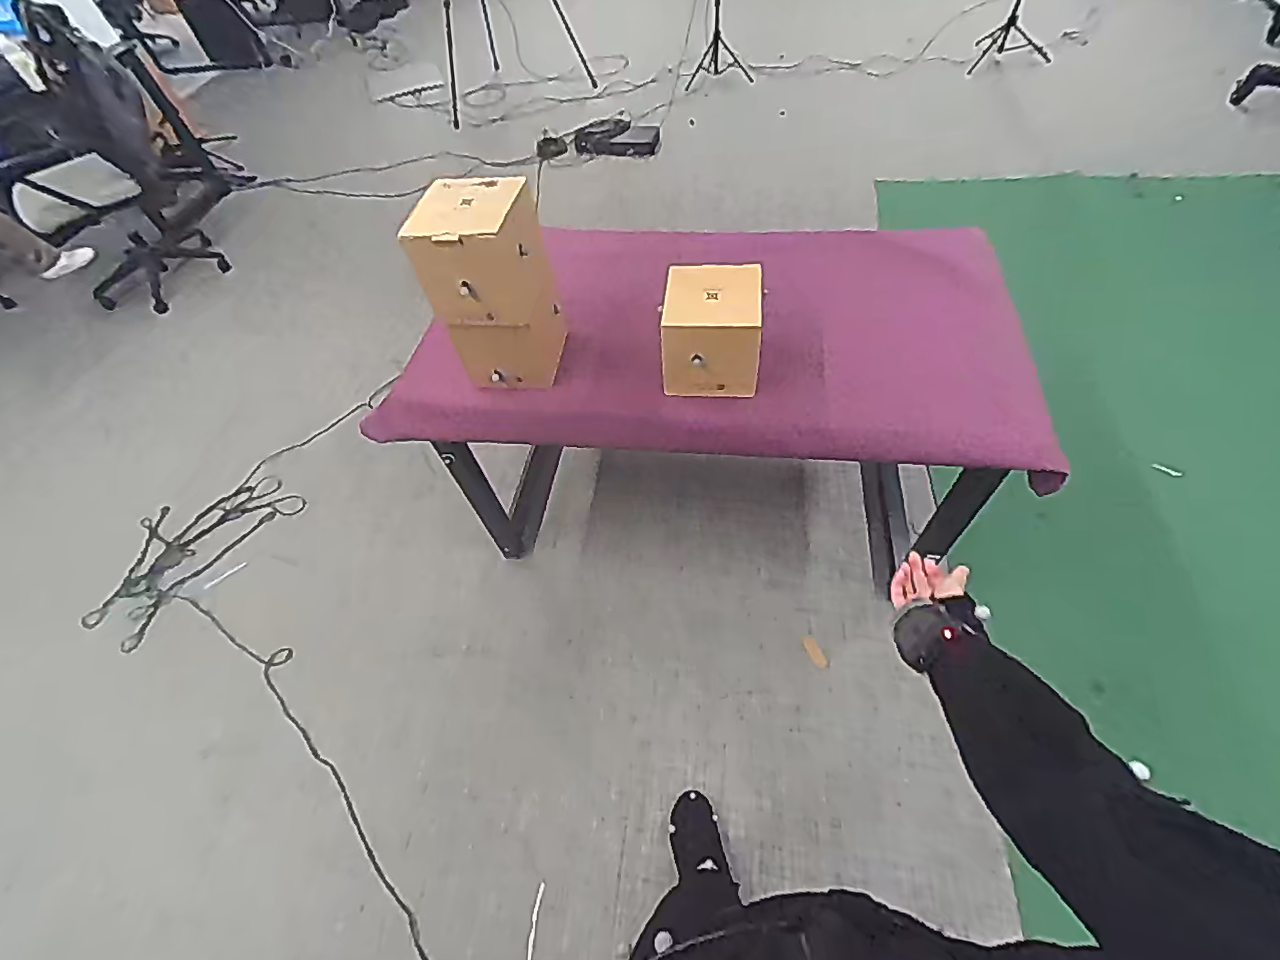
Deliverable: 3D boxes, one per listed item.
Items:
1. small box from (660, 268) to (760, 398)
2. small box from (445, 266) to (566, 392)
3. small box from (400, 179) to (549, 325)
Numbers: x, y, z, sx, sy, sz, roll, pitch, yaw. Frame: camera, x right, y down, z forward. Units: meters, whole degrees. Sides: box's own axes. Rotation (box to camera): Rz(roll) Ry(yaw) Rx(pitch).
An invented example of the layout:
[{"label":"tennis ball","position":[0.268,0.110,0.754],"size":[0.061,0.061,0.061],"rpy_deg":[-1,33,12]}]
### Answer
[{"label":"small box","position":[0.133,-0.266,0.995],"size":[0.168,0.176,0.179],"rpy_deg":[3,53,8]},{"label":"small box","position":[-0.250,-0.296,1.058],"size":[0.168,0.176,0.179],"rpy_deg":[3,55,9]},{"label":"small box","position":[-0.265,-0.383,0.919],"size":[0.168,0.176,0.179],"rpy_deg":[4,56,9]}]
